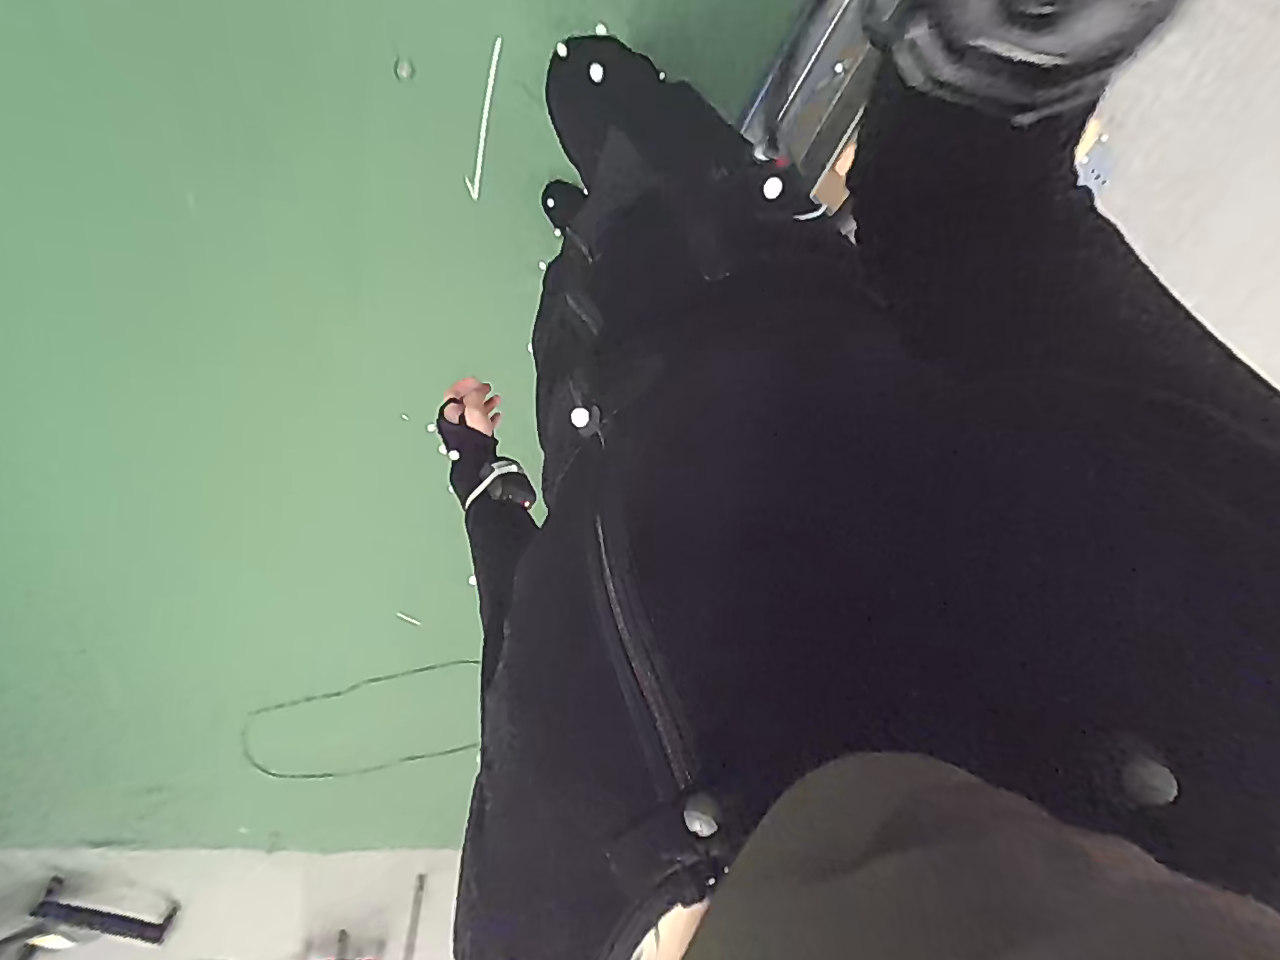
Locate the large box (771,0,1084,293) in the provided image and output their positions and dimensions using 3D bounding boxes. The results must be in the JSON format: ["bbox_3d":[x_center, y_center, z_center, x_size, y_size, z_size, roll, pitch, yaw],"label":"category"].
[{"bbox_3d":[0.552,-0.645,1.103,0.408,0.320,0.320,24,114,-23],"label":"large box"}]
